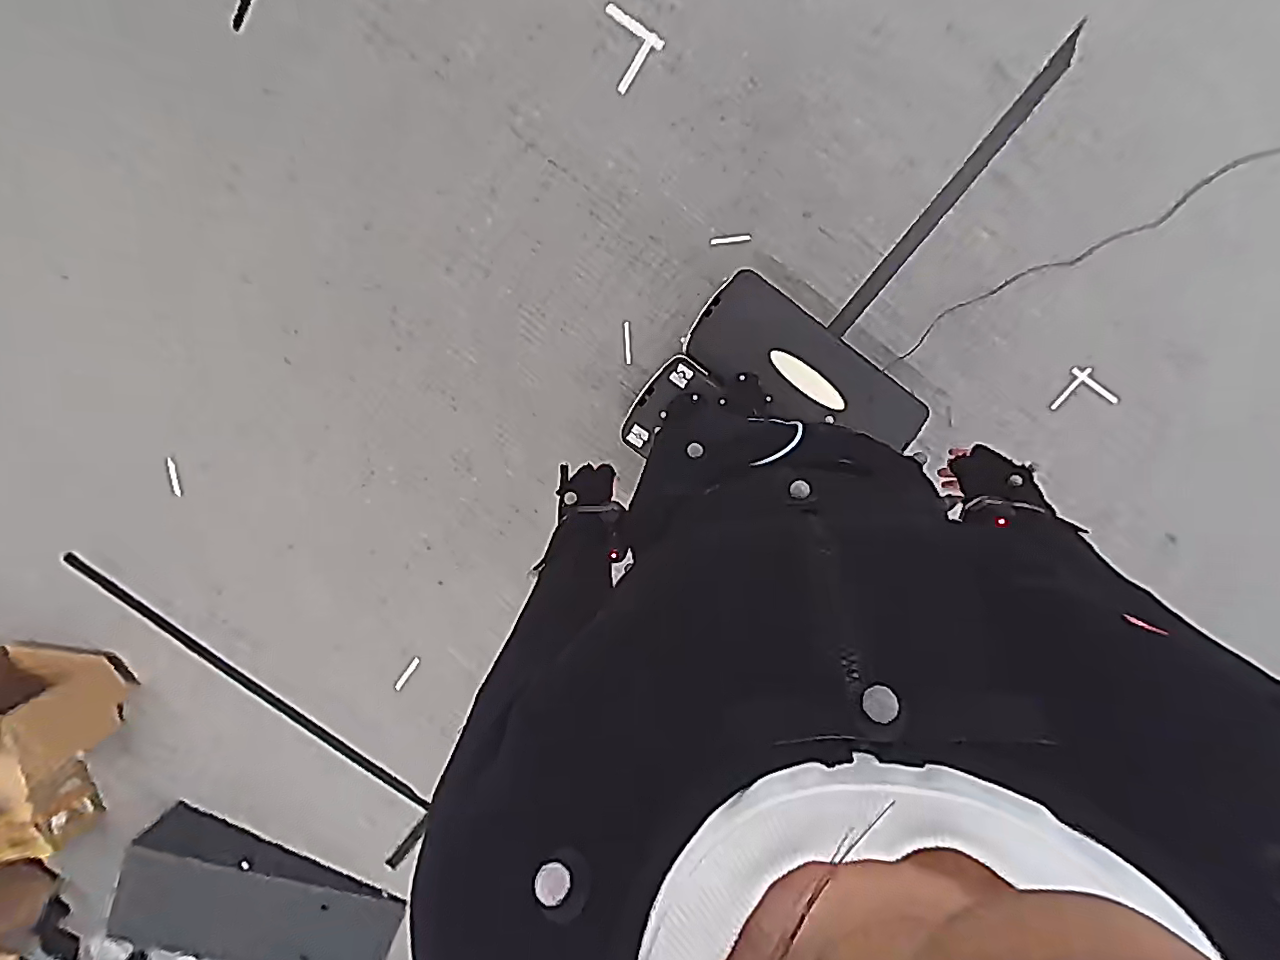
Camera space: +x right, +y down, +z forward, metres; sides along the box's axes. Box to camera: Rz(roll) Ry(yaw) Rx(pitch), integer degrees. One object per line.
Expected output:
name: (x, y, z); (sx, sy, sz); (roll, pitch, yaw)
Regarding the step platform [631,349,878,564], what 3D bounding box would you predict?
step platform: (0.310, -0.067, 1.516); (0.684, 0.204, 0.286); (36, 103, -2)
